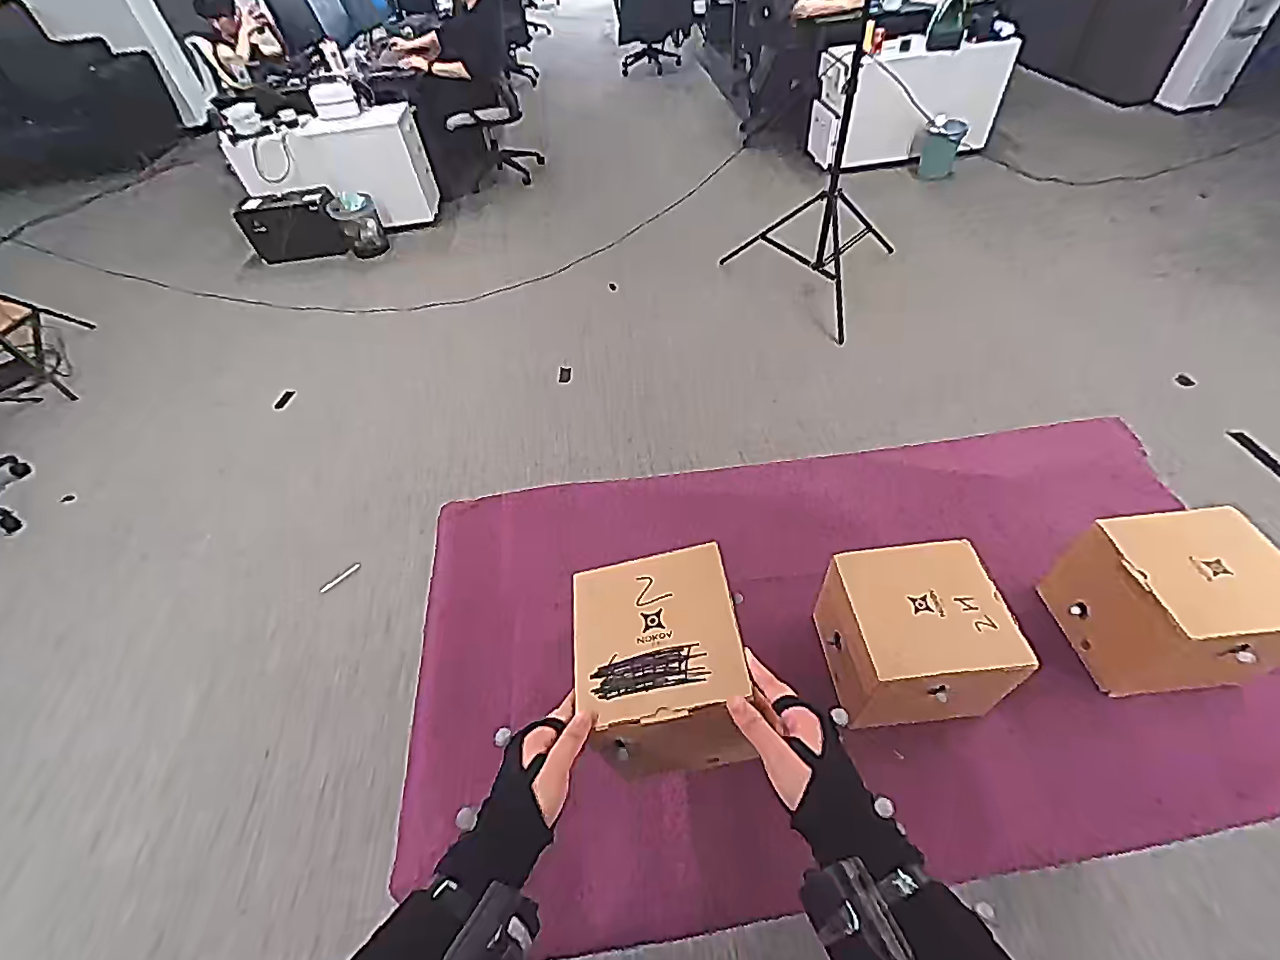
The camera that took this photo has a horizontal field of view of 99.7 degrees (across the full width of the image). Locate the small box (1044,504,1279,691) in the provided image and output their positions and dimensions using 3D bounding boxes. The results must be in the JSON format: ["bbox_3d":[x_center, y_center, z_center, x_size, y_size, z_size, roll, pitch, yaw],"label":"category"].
[{"bbox_3d":[0.677,0.153,0.690,0.179,0.176,0.168,-7,48,2],"label":"small box"}]

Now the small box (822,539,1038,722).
[{"bbox_3d":[0.343,0.196,0.690,0.179,0.176,0.168,-6,49,1],"label":"small box"}]
